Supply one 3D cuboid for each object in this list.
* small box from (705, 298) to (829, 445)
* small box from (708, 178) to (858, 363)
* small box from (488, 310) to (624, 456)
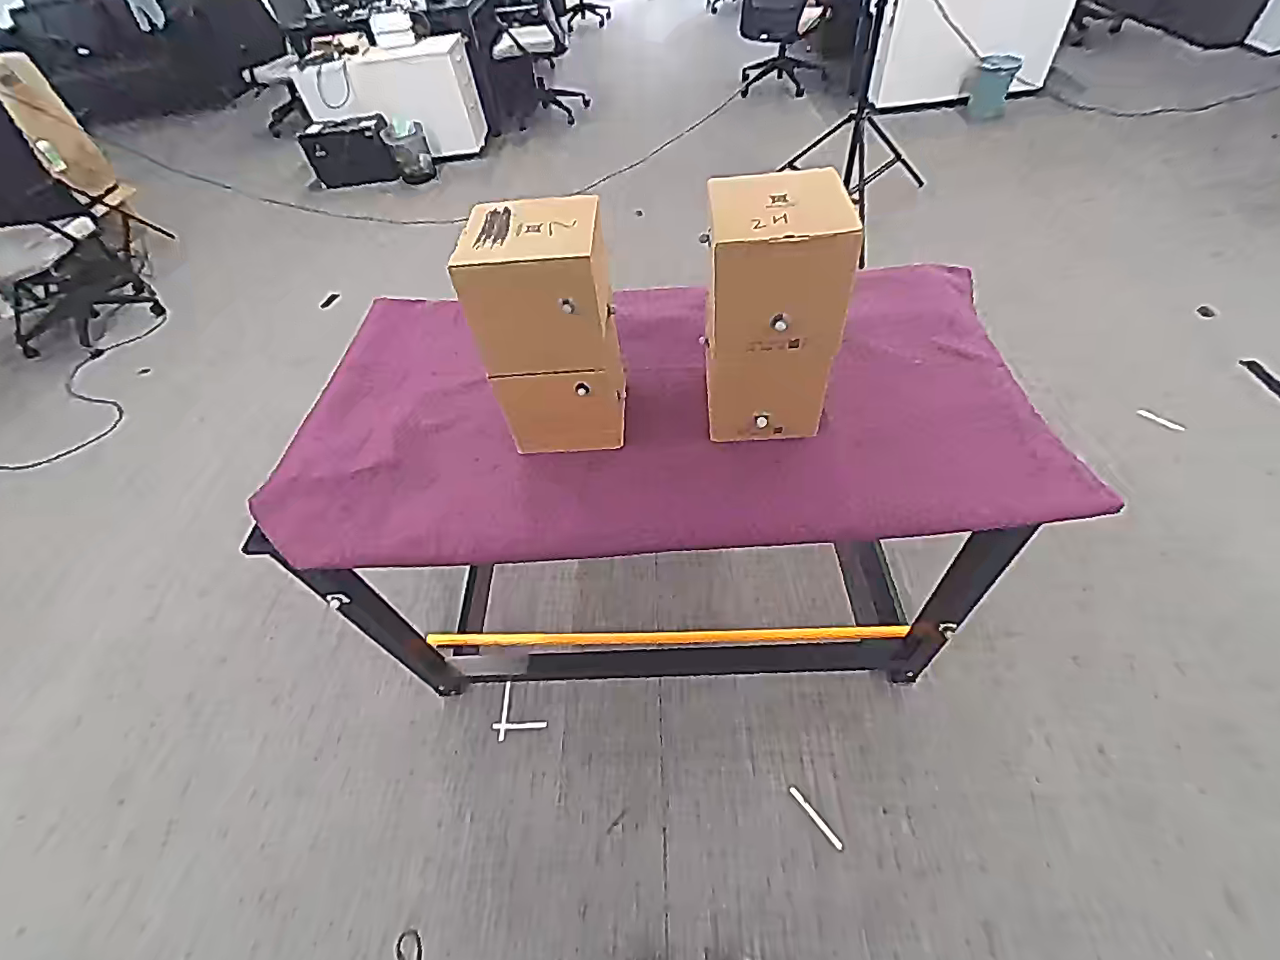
[{"bbox_3d":[0.188,-0.175,0.857,0.168,0.176,0.179,-2,51,6],"label":"small box"},{"bbox_3d":[0.177,-0.280,0.730,0.168,0.176,0.179,-3,50,6],"label":"small box"},{"bbox_3d":[-0.124,-0.153,0.881,0.179,0.176,0.168,-3,50,4],"label":"small box"}]
